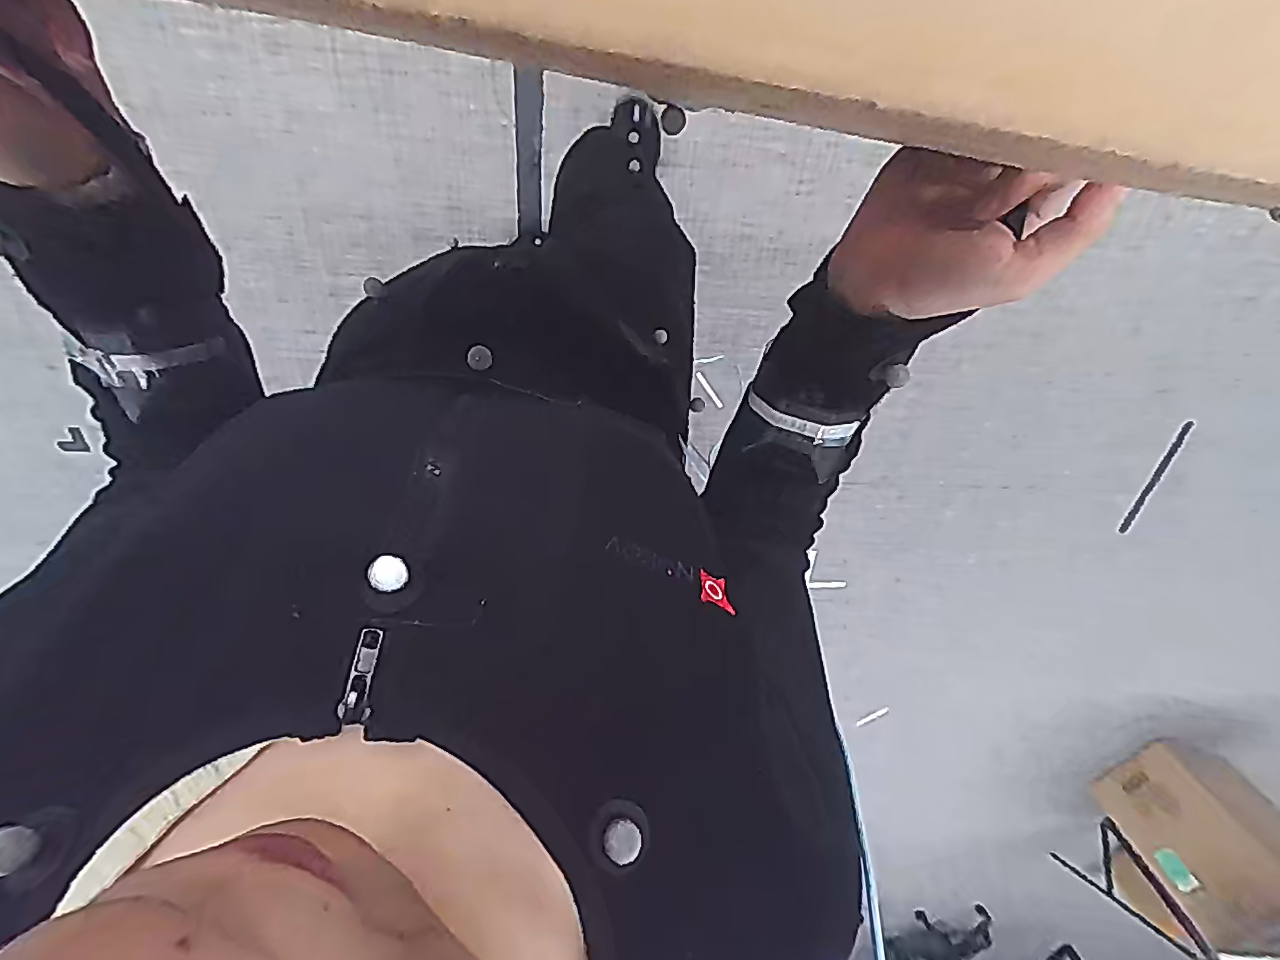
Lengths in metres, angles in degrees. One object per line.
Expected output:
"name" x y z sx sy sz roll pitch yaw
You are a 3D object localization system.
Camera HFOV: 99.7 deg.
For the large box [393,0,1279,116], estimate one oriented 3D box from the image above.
"large box" -0.018 -0.298 0.108 0.408 0.320 0.320 5 127 -8
